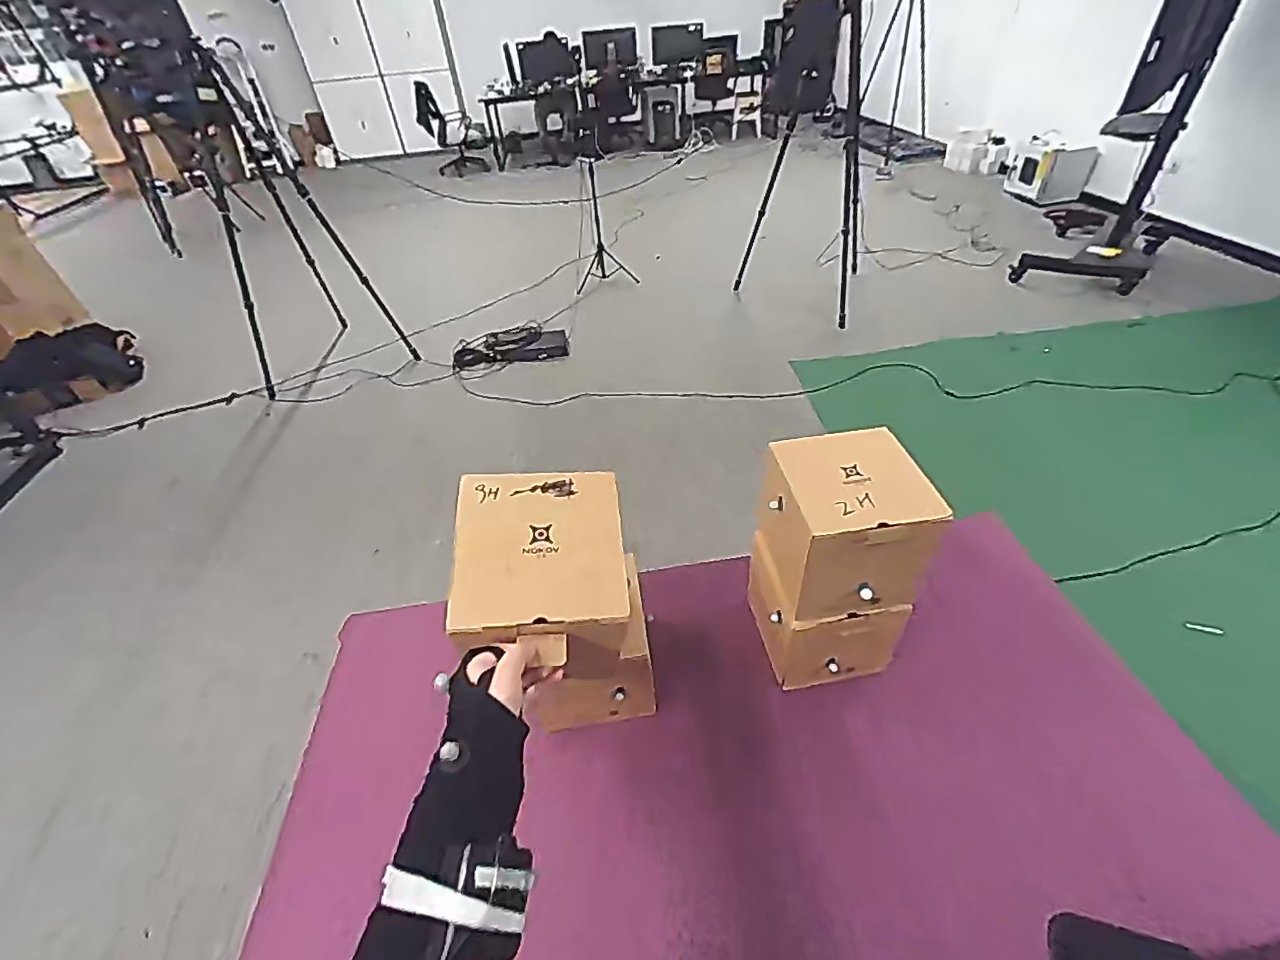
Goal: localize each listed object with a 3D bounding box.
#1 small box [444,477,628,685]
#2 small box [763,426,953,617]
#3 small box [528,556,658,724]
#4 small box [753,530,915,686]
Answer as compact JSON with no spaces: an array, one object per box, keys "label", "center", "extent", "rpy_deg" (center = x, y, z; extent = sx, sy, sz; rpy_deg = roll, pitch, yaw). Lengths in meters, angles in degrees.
[{"label":"small box","center":[-0.106,0.115,0.591],"extent":[0.168,0.176,0.179],"rpy_deg":[-1,54,-9]},{"label":"small box","center":[0.268,0.054,0.717],"extent":[0.168,0.176,0.179],"rpy_deg":[-9,43,-2]},{"label":"small box","center":[-0.068,0.241,0.801],"extent":[0.168,0.176,0.179],"rpy_deg":[-8,41,-2]},{"label":"small box","center":[0.276,0.182,0.822],"extent":[0.168,0.176,0.179],"rpy_deg":[-10,43,-3]}]
